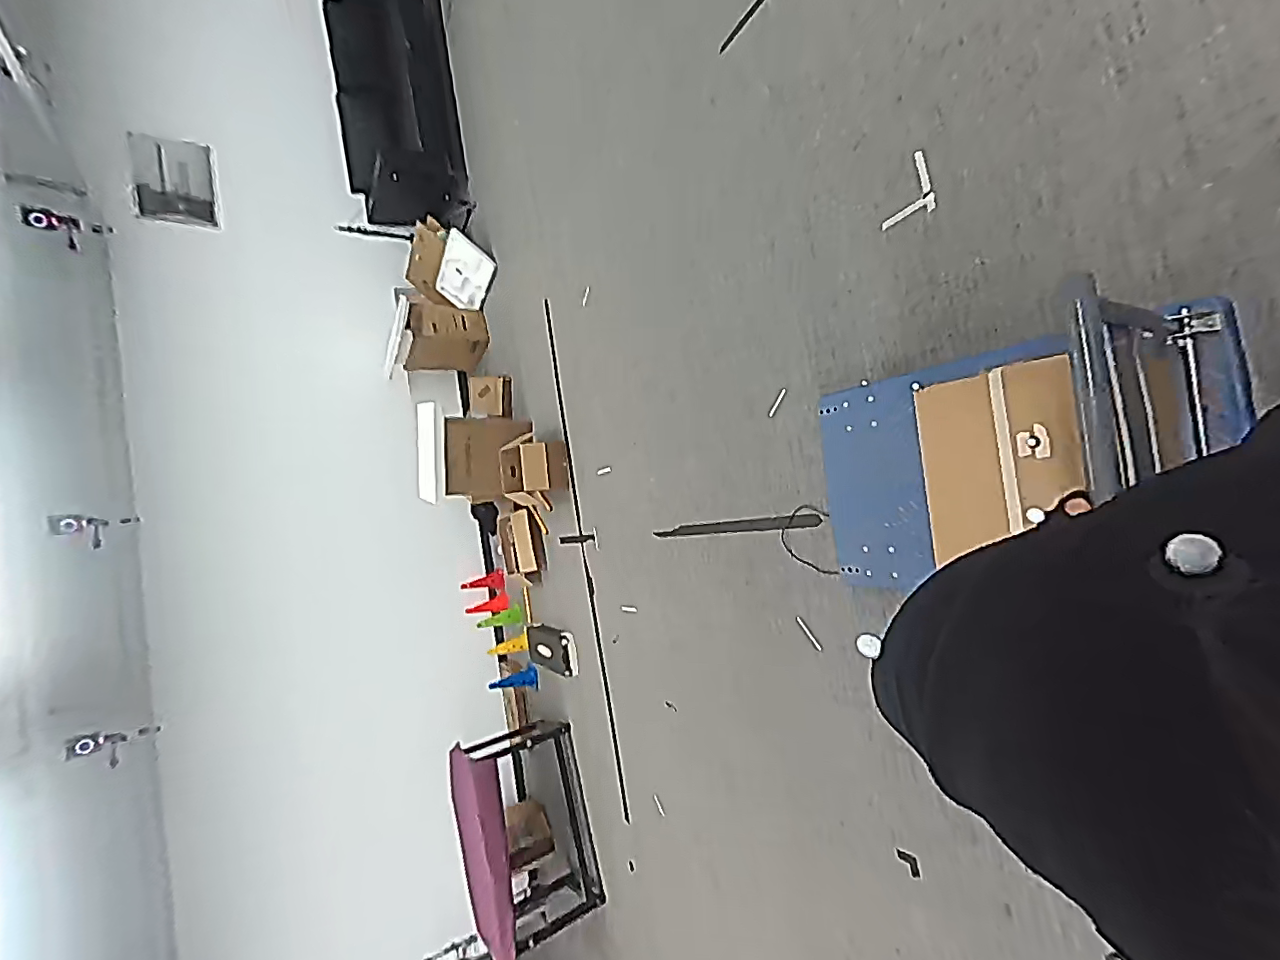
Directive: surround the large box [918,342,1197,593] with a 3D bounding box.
[{"bbox_3d":[0.793,-0.018,1.041,0.320,0.320,0.408,-9,87,56],"label":"large box"}]
